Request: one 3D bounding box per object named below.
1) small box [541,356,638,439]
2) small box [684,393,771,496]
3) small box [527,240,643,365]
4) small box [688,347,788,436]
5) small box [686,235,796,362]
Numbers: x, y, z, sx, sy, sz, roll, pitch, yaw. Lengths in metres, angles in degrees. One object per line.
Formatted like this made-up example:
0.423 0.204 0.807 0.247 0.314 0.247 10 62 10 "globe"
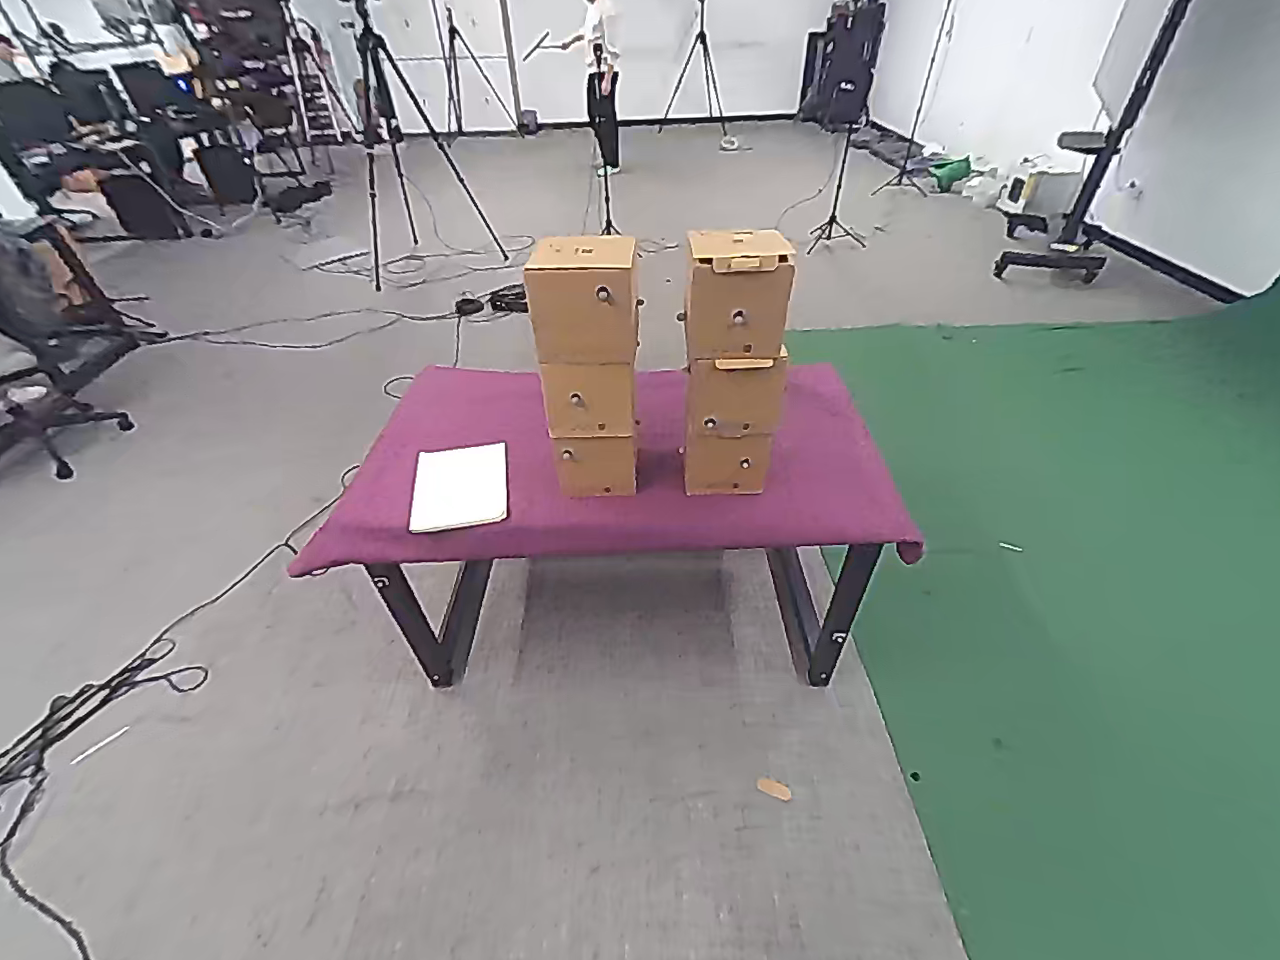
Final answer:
-0.091 -0.193 1.077 0.168 0.176 0.179 -1 40 2 "small box"
0.184 -0.077 1.184 0.168 0.176 0.179 0 40 1 "small box"
-0.087 -0.315 0.965 0.179 0.176 0.168 0 39 4 "small box"
0.186 -0.198 1.074 0.168 0.176 0.179 -1 40 0 "small box"
0.170 -0.323 0.968 0.168 0.176 0.179 0 41 1 "small box"
